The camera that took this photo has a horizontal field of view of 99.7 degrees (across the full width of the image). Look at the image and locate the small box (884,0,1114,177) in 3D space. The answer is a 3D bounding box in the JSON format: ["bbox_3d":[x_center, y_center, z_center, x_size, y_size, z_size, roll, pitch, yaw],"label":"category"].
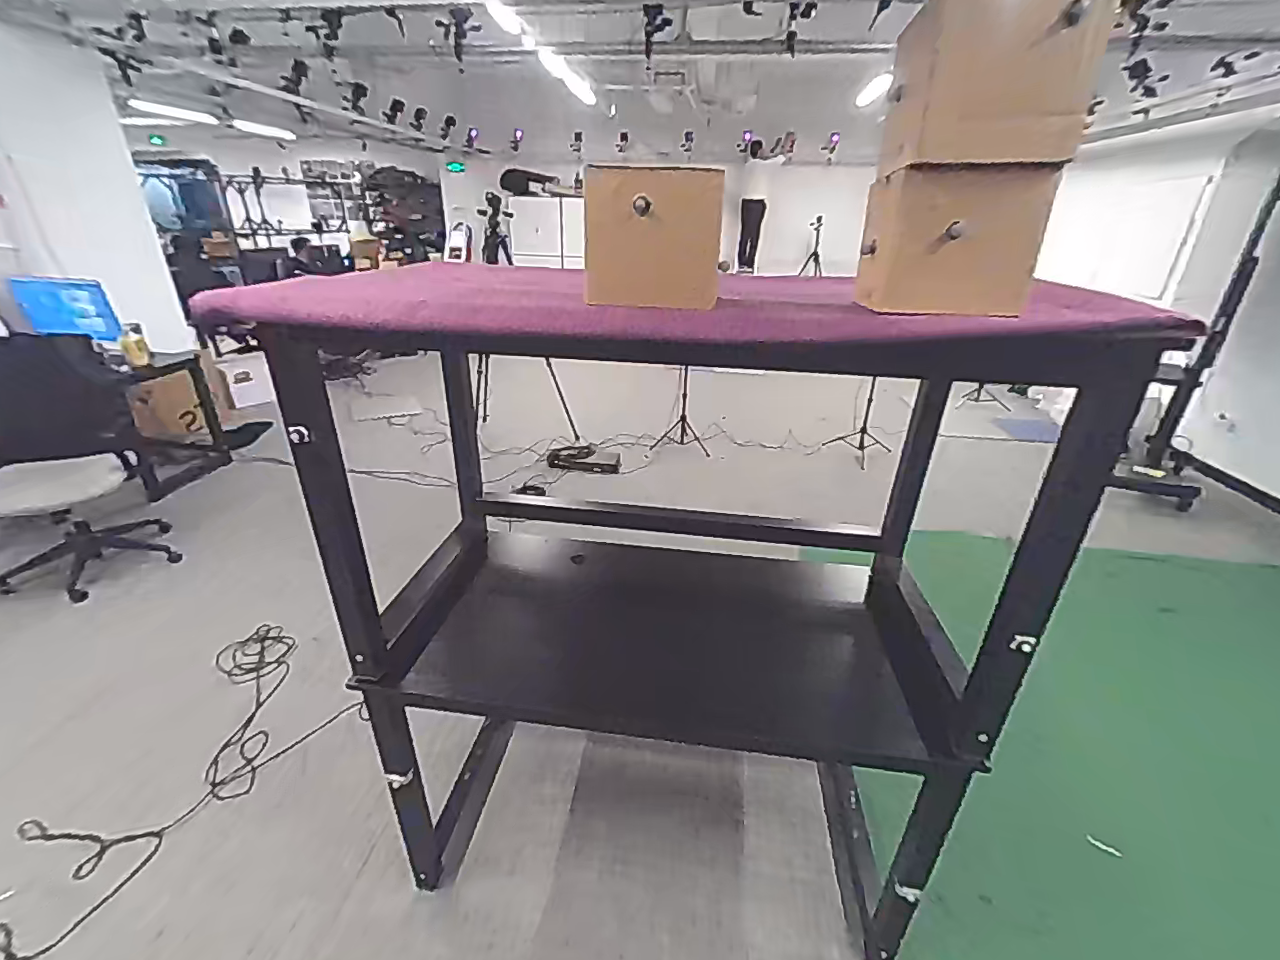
[{"bbox_3d":[0.407,-0.456,0.647,0.179,0.176,0.168,4,23,7],"label":"small box"}]

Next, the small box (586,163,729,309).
[{"bbox_3d":[0.029,-0.338,0.759,0.179,0.176,0.168,6,27,7],"label":"small box"}]

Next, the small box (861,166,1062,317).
[{"bbox_3d":[0.406,-0.312,0.724,0.179,0.176,0.168,4,24,8],"label":"small box"}]
